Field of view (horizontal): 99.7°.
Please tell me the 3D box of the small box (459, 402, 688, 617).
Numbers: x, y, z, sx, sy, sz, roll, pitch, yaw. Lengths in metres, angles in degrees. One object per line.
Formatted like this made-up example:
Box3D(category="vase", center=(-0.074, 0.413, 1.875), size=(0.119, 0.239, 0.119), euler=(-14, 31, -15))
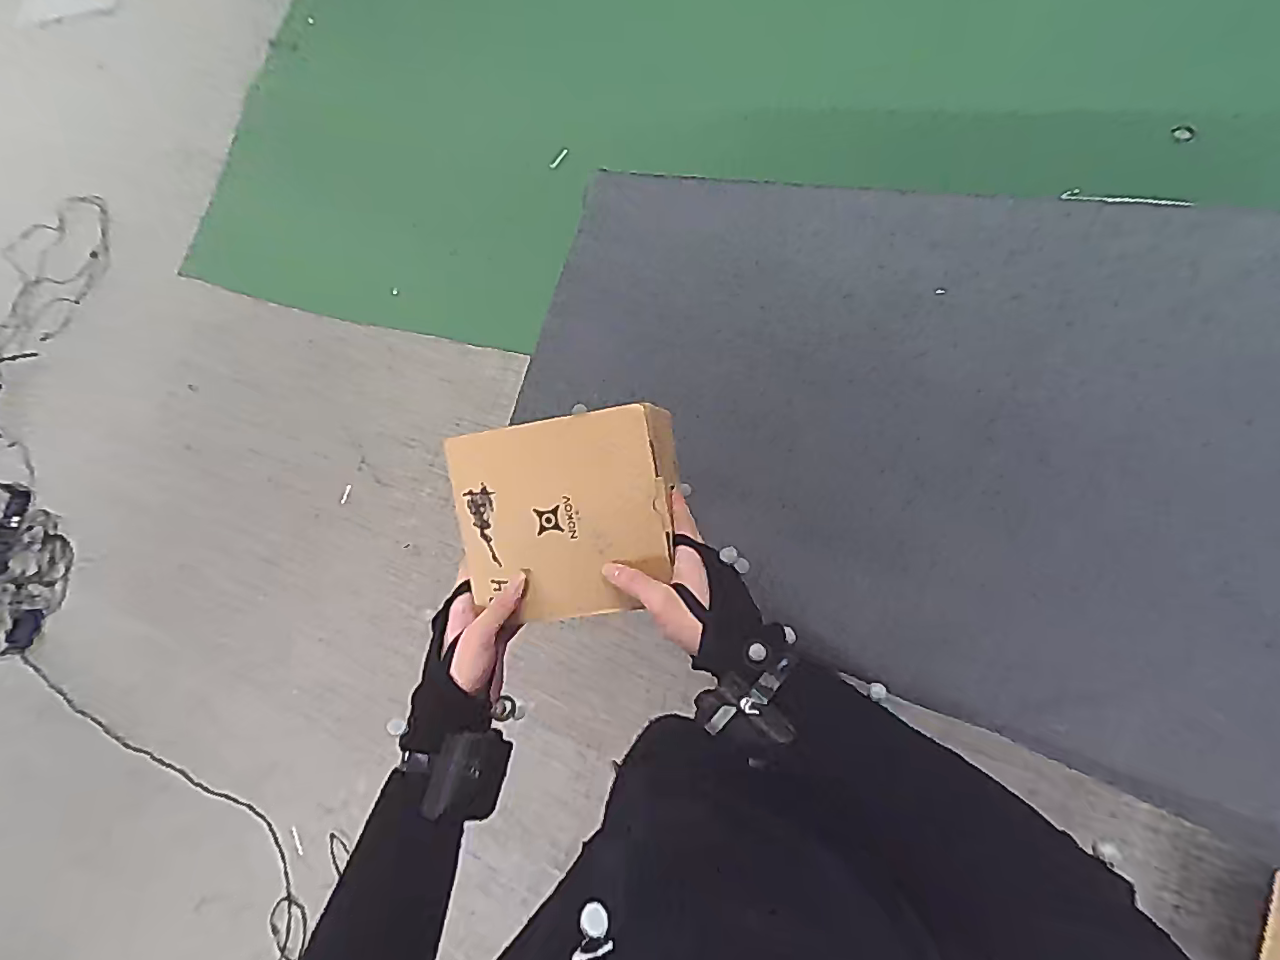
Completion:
Box3D(category="small box", center=(-0.048, 0.022, 0.526), size=(0.179, 0.176, 0.168), euler=(-8, 91, 9))
